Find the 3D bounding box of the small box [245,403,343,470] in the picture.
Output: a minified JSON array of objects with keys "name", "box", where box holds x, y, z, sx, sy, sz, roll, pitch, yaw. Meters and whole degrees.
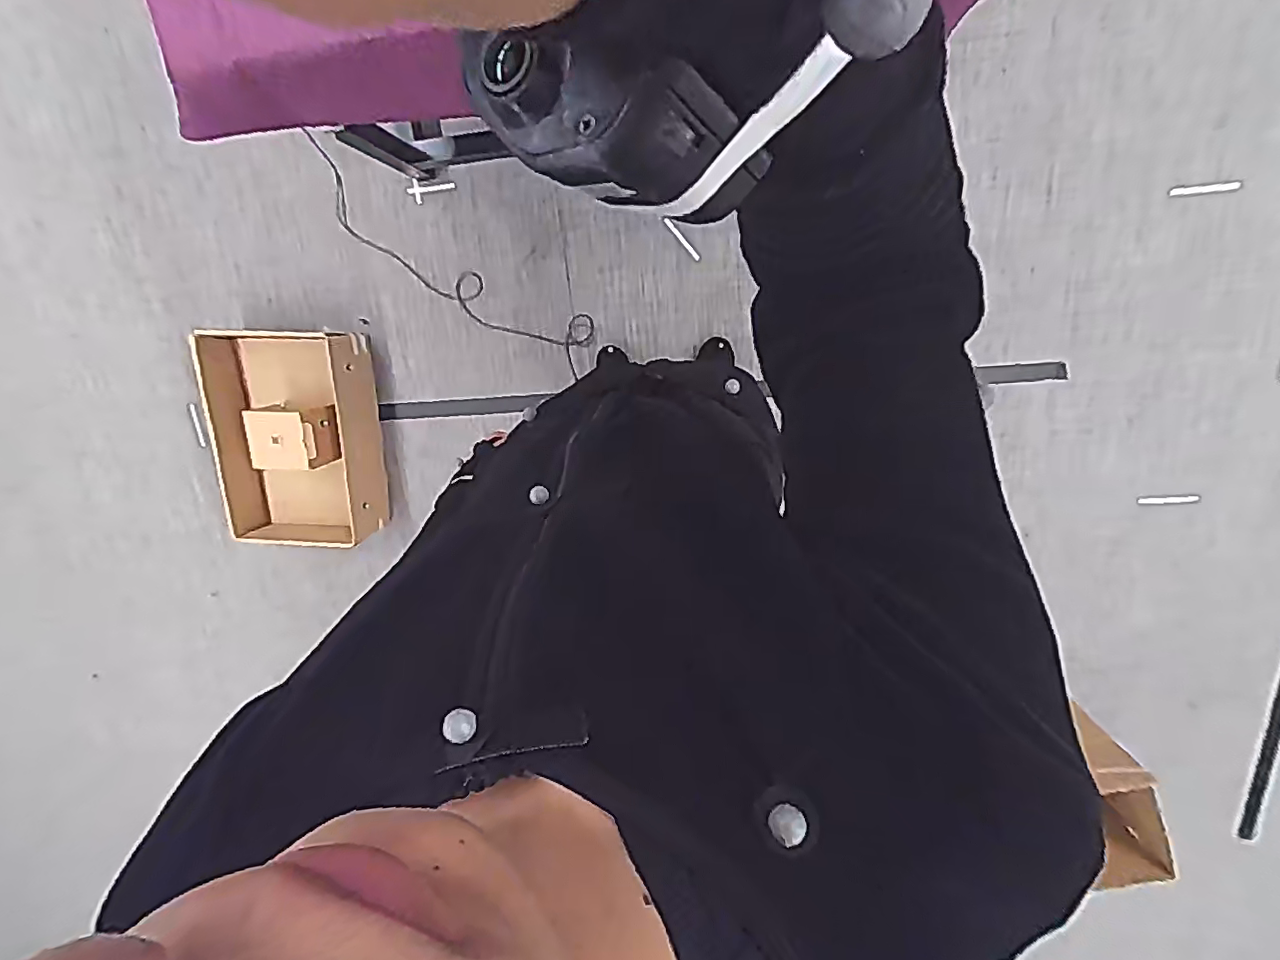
[{"name":"small box","box":[-0.992,-0.131,1.570,0.179,0.176,0.168,2,106,5]}]
